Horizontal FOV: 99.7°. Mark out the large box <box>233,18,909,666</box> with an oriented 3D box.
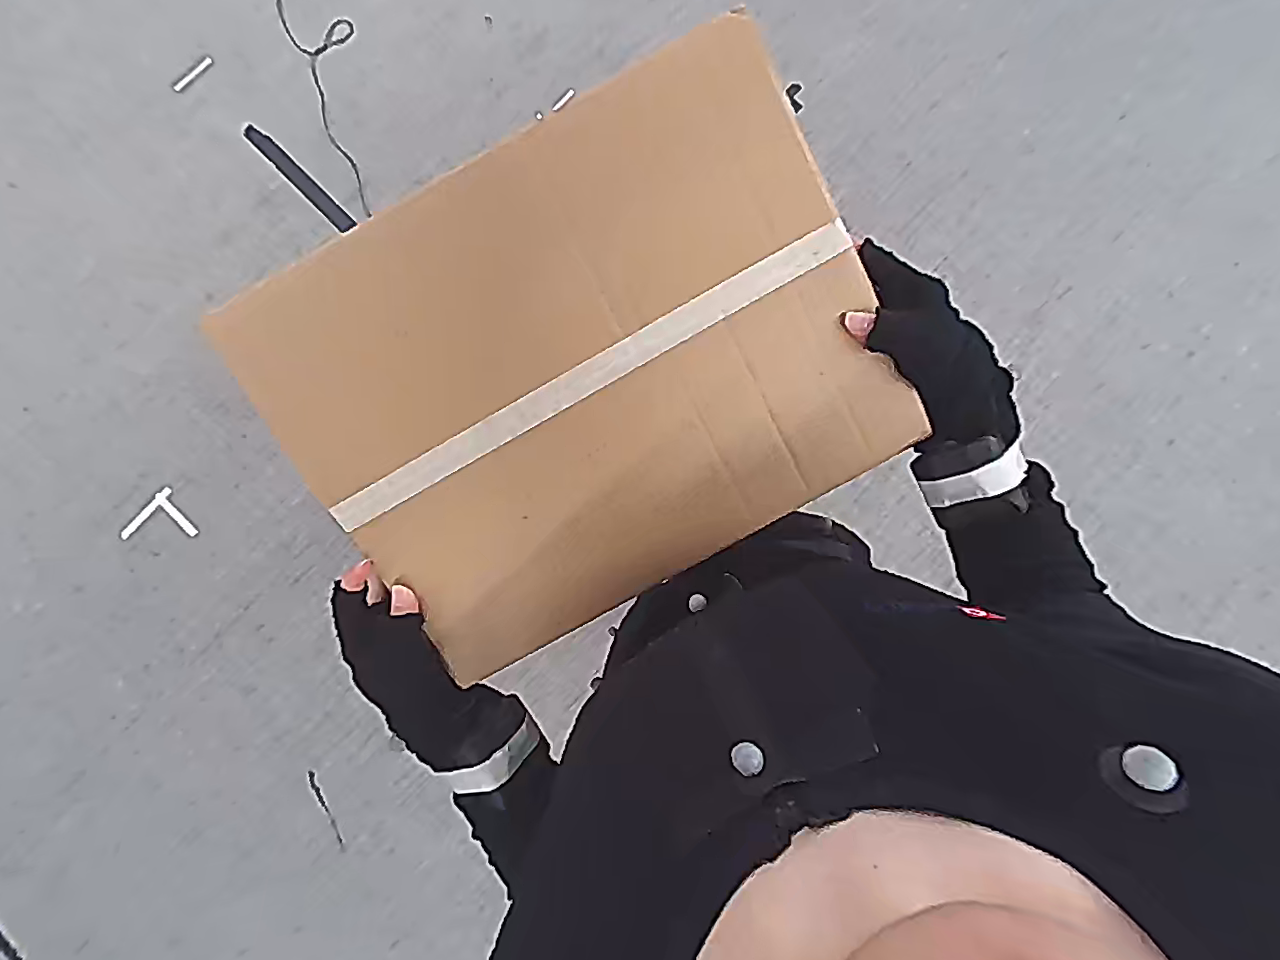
[{"bbox_3d":[-0.048,-0.103,0.535,0.408,0.320,0.320,-29,102,2],"label":"large box"}]
